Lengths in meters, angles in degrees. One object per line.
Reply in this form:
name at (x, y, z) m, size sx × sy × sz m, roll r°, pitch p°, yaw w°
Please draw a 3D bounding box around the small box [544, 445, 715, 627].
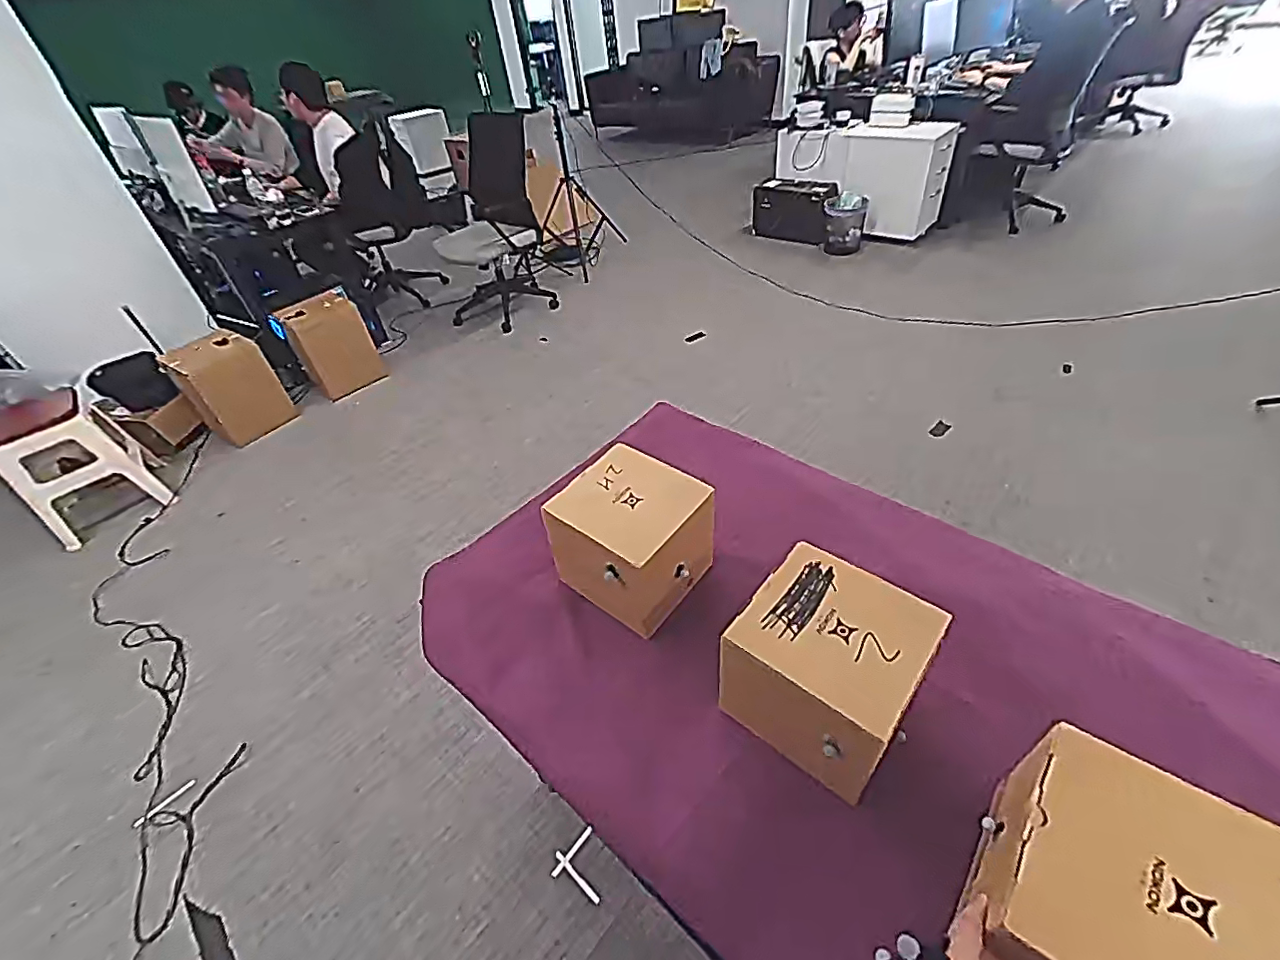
small box at (-0.009, 0.085, 0.784) m, size 0.179 × 0.176 × 0.168 m, roll 27°, pitch 52°, yaw 30°
